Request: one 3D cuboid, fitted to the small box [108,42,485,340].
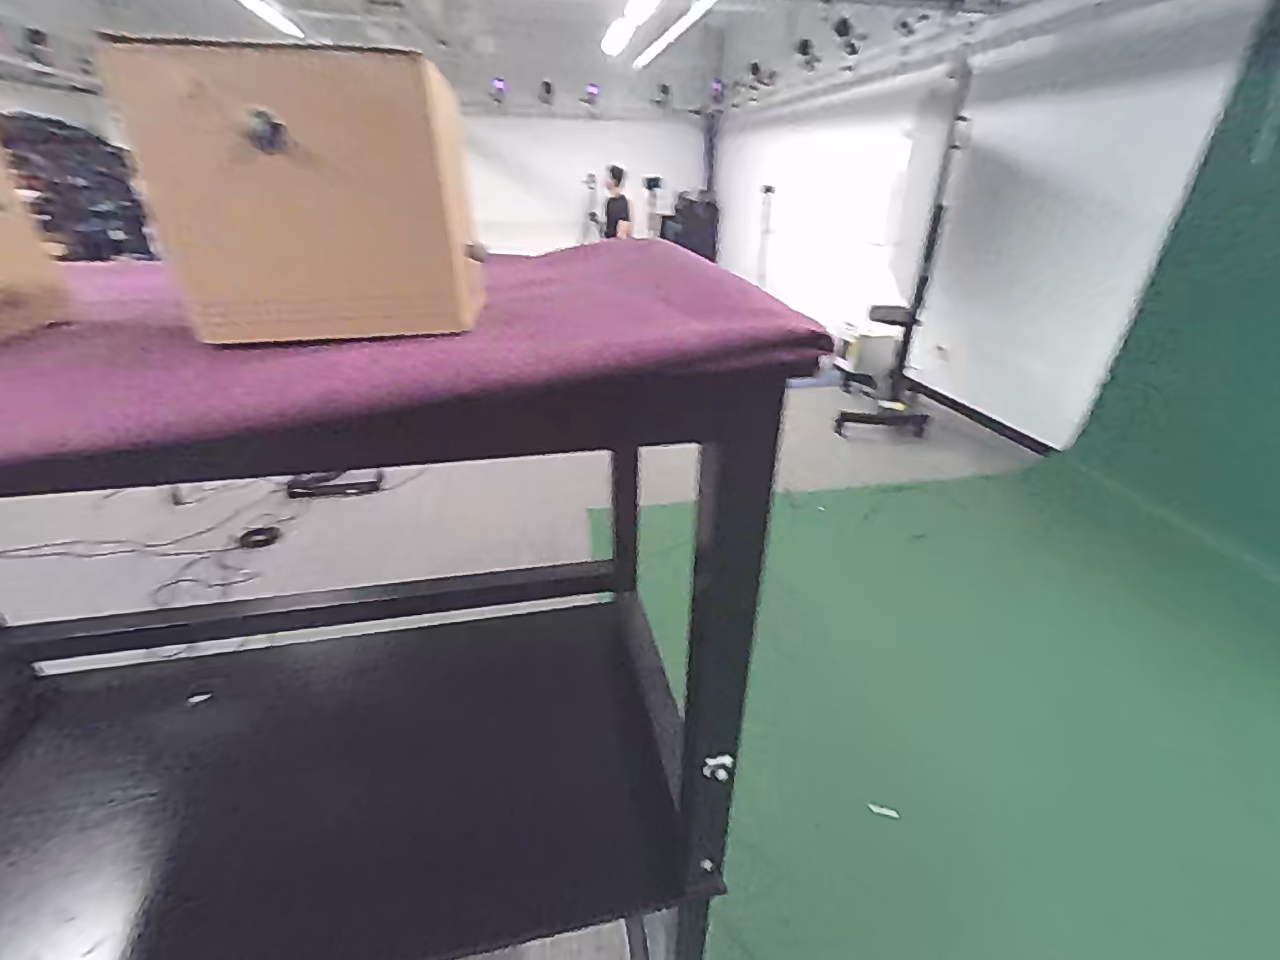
[{"bbox_3d":[-0.226,-0.208,0.418,0.179,0.176,0.168,-5,27,-9],"label":"small box"}]

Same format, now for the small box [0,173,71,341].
[{"bbox_3d":[-0.536,-0.163,0.336,0.179,0.176,0.168,-7,29,-11],"label":"small box"}]
